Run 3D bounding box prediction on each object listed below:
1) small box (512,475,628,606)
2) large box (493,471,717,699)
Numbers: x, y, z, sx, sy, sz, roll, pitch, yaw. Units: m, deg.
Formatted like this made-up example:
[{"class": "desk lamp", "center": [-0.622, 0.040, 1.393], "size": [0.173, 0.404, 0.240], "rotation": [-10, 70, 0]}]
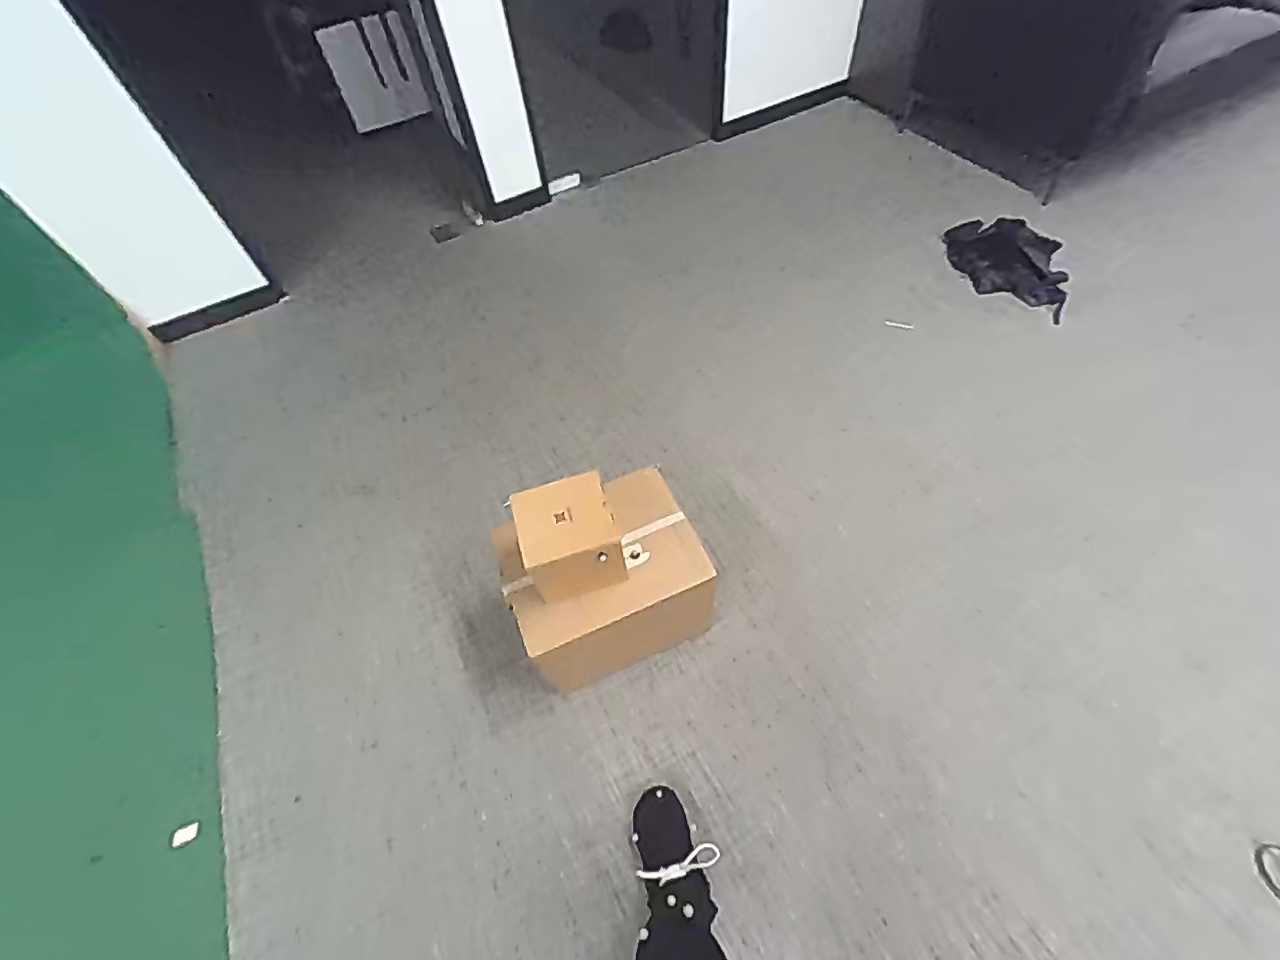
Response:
[{"class": "small box", "center": [-0.132, 0.123, 1.051], "size": [0.179, 0.176, 0.168], "rotation": [-17, 55, -7]}, {"class": "large box", "center": [-0.075, 0.247, 1.256], "size": [0.408, 0.320, 0.320], "rotation": [-21, 57, -11]}]
